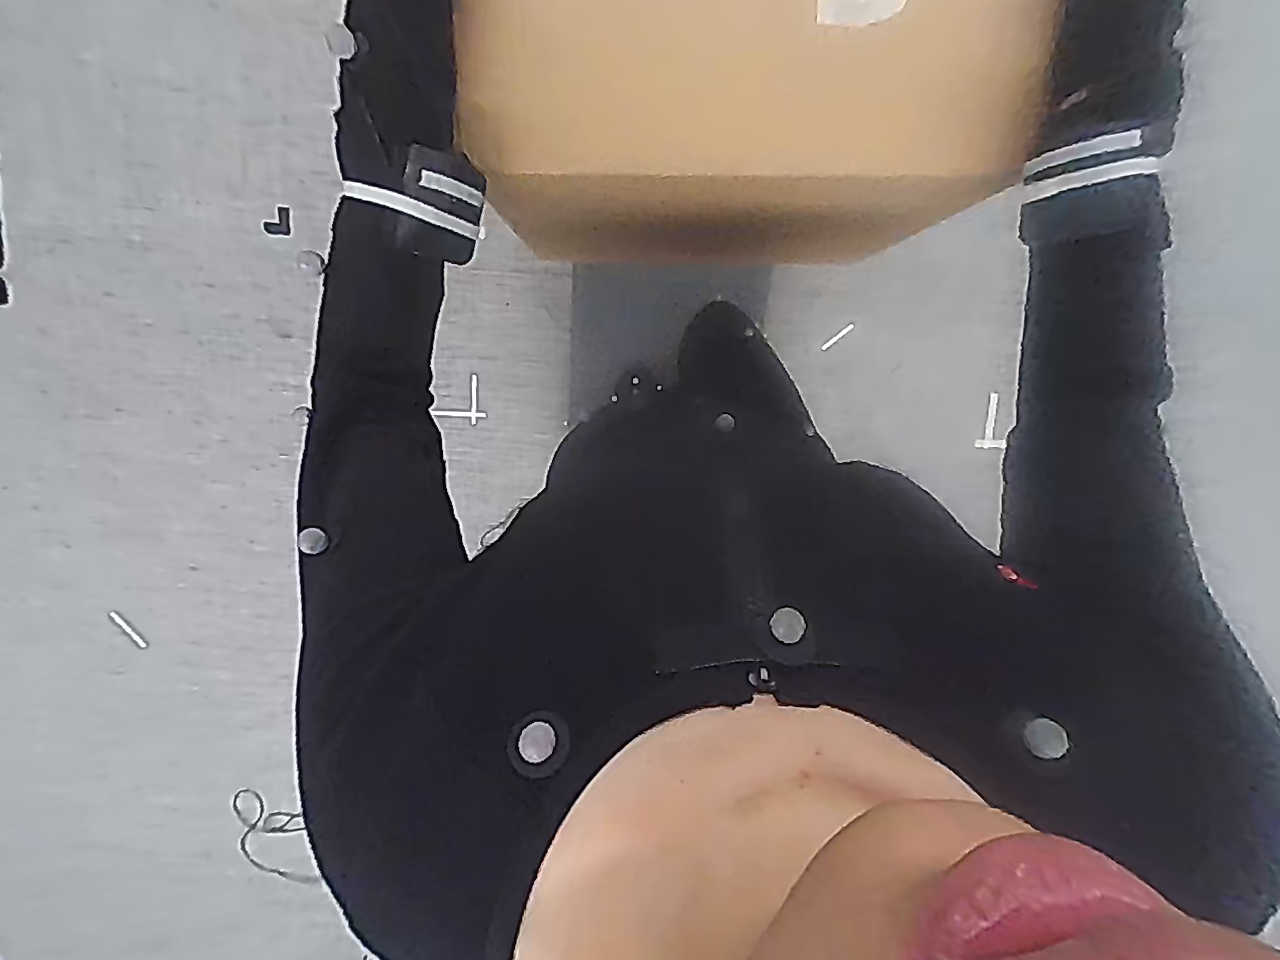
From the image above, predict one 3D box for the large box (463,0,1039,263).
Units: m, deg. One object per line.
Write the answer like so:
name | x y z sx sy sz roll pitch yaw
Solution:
large box | 0.073 -0.401 0.508 0.408 0.320 0.320 0 101 -1
